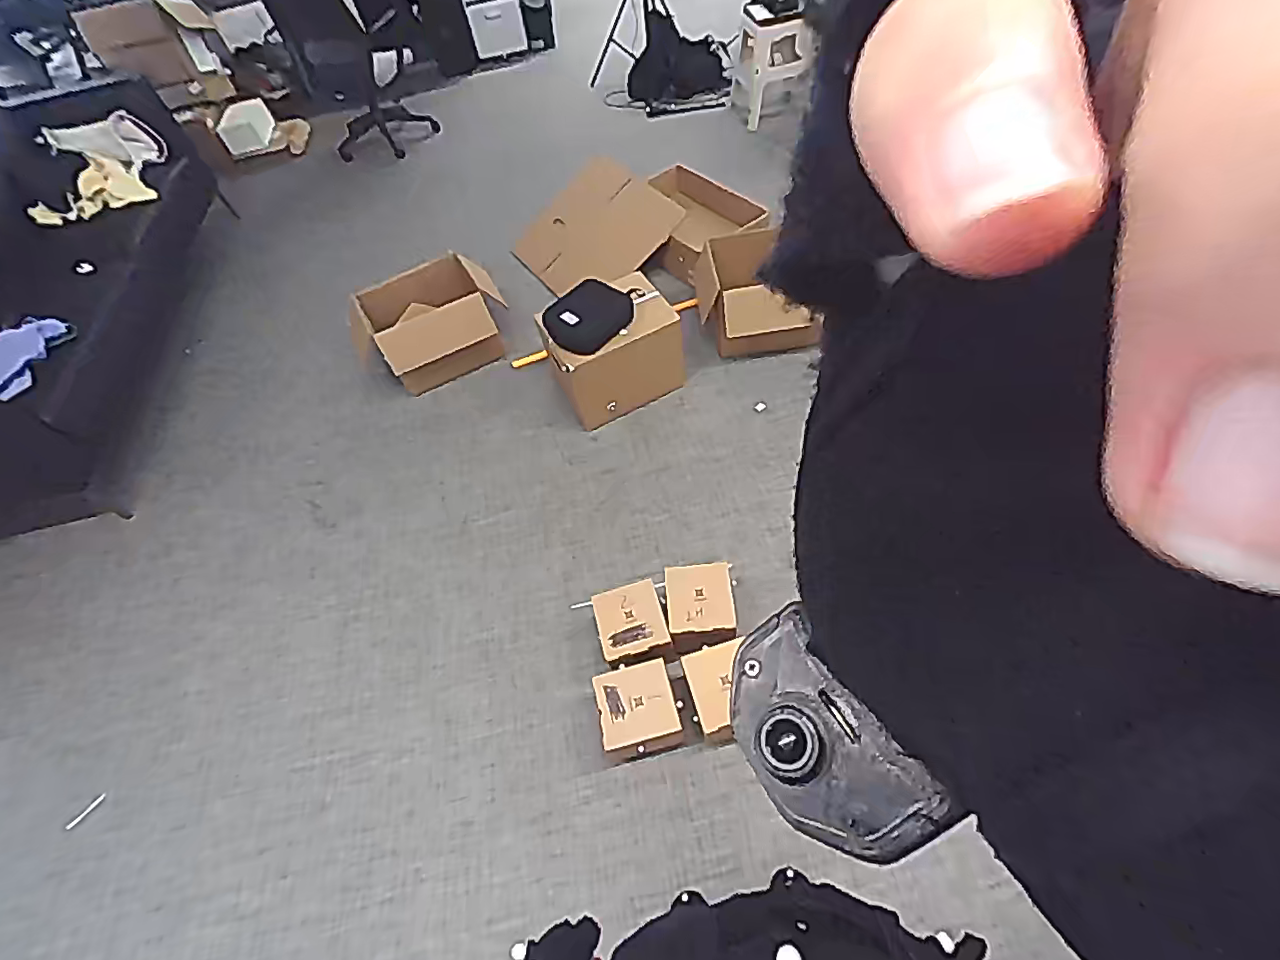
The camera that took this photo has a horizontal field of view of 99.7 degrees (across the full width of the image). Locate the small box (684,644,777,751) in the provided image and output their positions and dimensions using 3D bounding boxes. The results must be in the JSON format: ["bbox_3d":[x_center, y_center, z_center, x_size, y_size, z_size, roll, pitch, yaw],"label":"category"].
[{"bbox_3d":[0.209,0.519,1.286,0.168,0.176,0.179,-17,55,-3],"label":"small box"}]
